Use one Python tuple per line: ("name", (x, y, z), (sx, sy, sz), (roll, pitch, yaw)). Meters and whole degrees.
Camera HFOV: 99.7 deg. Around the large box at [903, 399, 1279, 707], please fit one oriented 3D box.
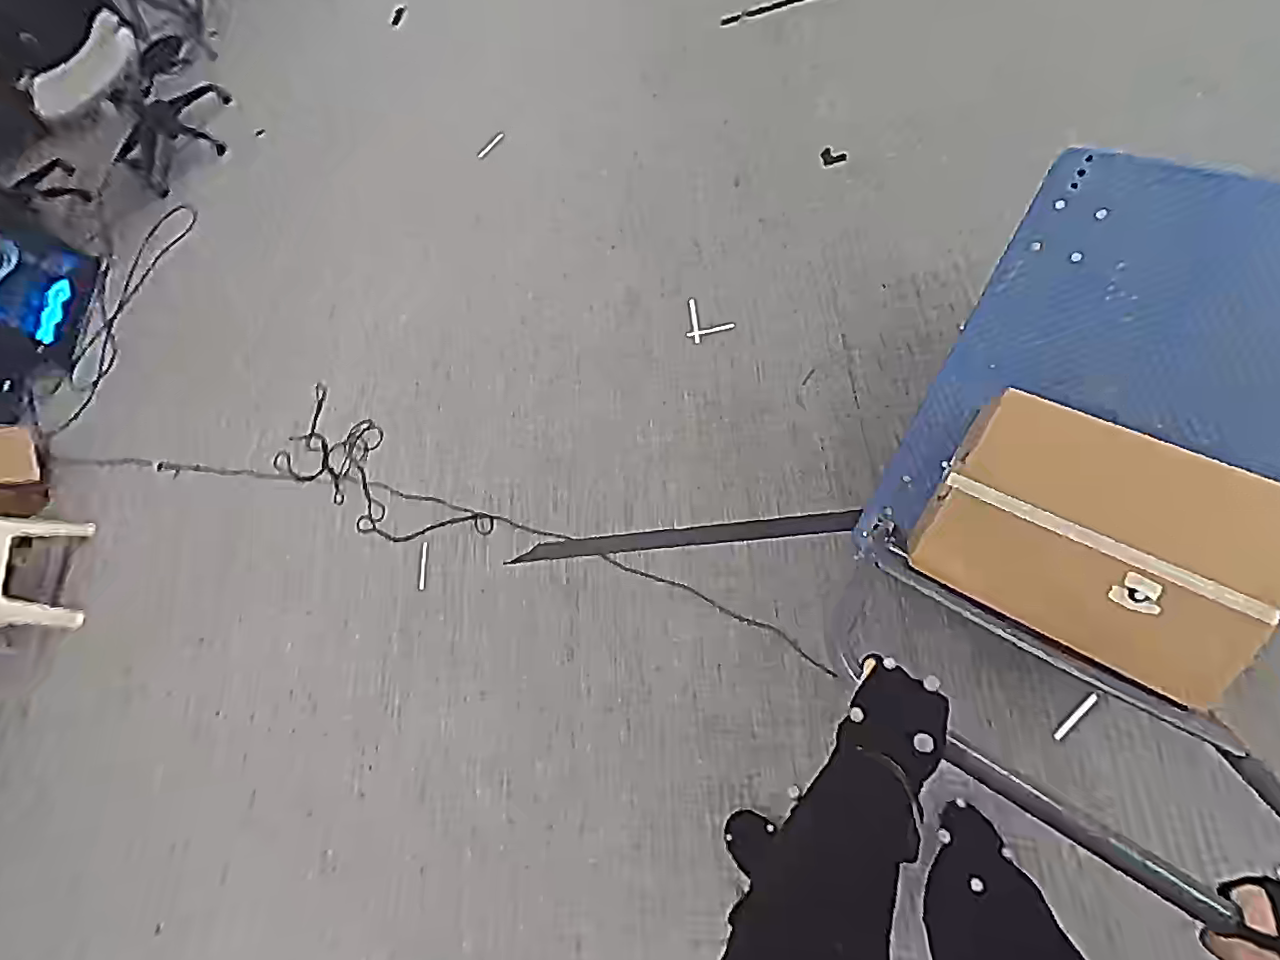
("large box", (0.718, 0.091, 0.920), (0.408, 0.320, 0.320), (29, 104, 22))
